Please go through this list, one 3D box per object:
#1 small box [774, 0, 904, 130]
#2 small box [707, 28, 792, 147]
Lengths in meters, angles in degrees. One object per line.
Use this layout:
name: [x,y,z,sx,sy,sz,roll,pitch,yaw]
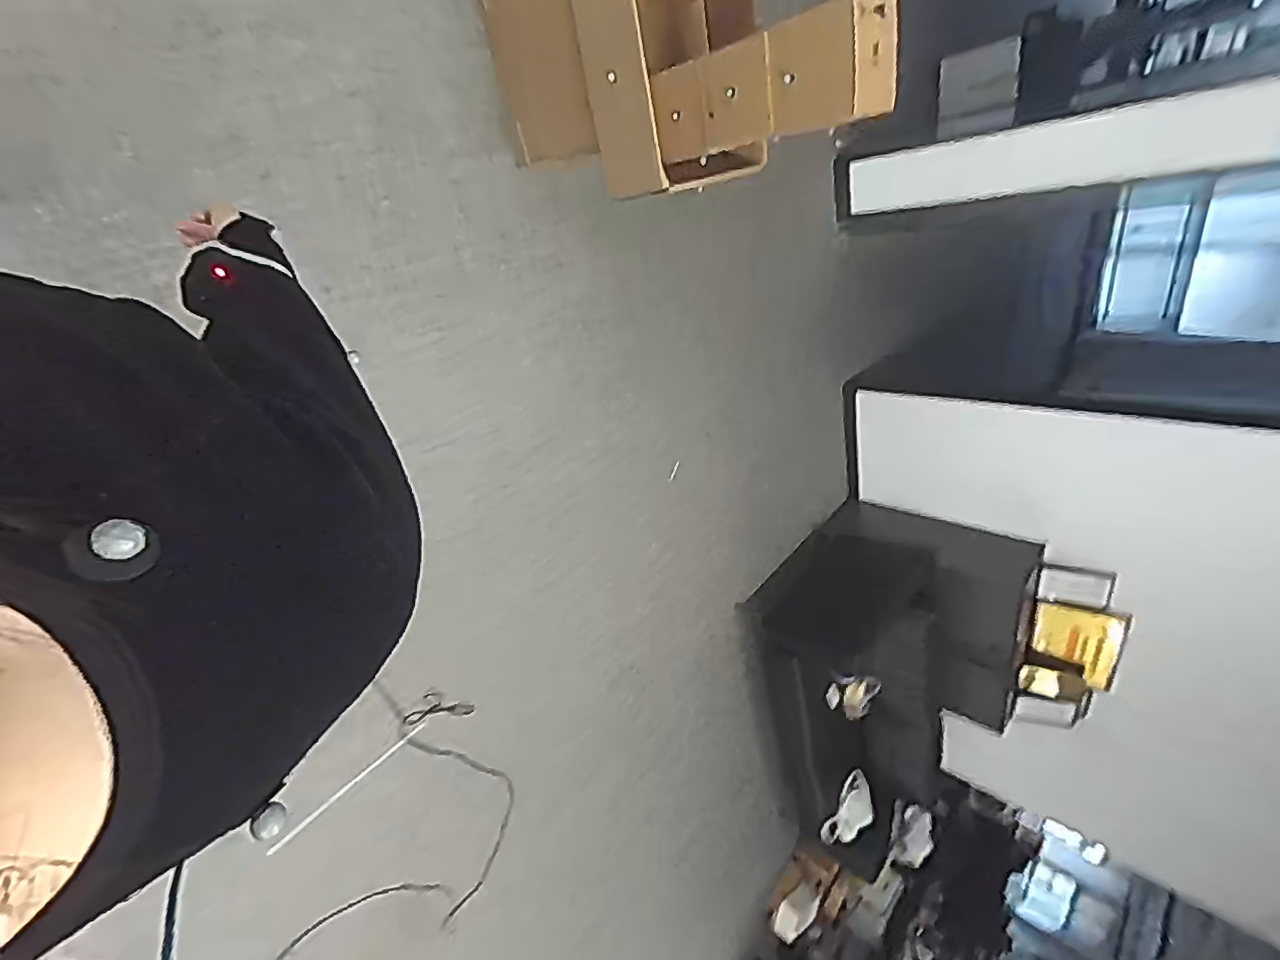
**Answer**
small box: [0.369,-0.772,1.011,0.168,0.176,0.179,-32,124,-34]
small box: [0.253,-0.809,1.124,0.179,0.176,0.168,-33,124,-33]
